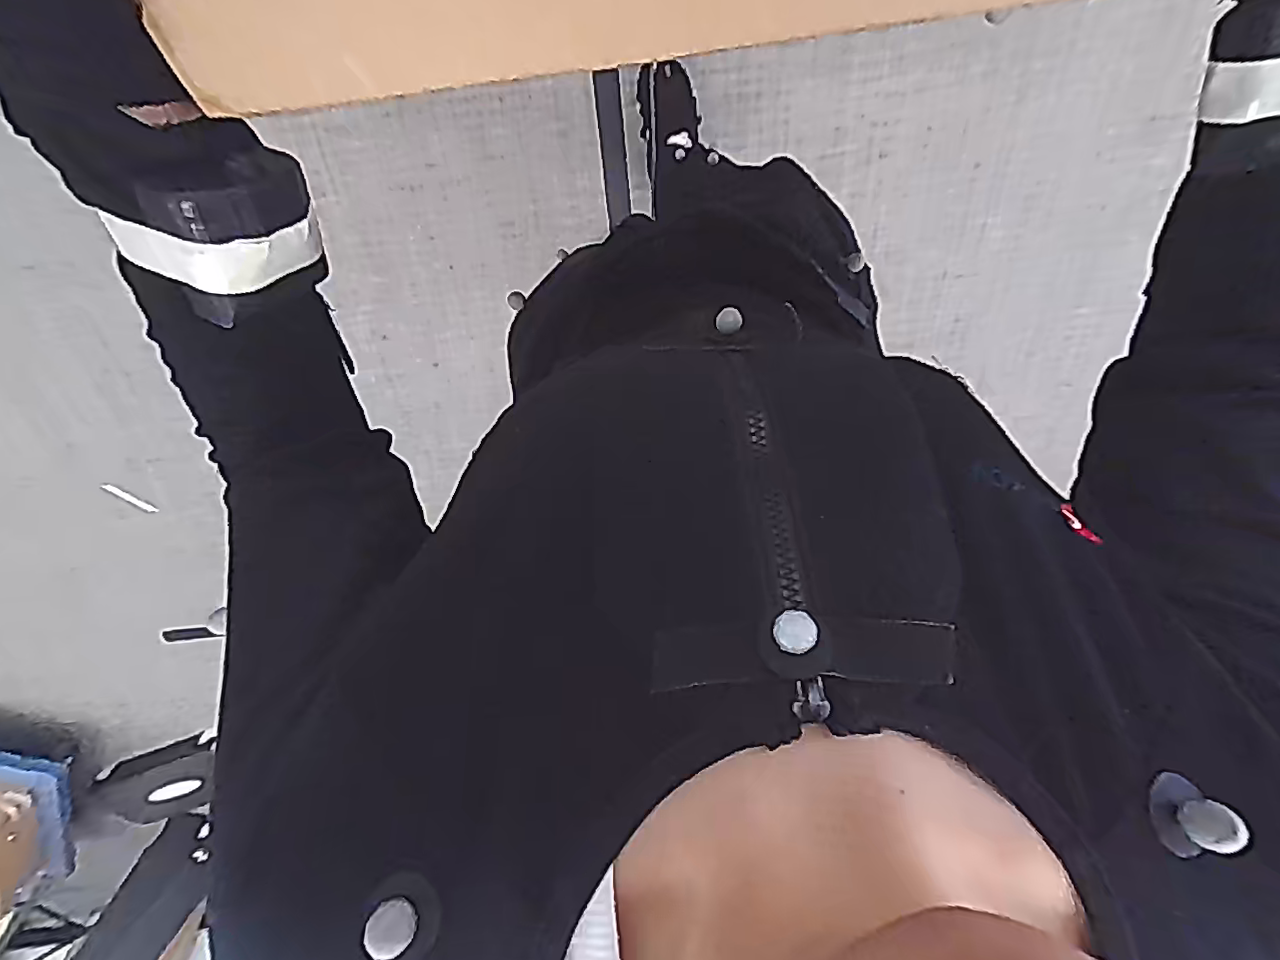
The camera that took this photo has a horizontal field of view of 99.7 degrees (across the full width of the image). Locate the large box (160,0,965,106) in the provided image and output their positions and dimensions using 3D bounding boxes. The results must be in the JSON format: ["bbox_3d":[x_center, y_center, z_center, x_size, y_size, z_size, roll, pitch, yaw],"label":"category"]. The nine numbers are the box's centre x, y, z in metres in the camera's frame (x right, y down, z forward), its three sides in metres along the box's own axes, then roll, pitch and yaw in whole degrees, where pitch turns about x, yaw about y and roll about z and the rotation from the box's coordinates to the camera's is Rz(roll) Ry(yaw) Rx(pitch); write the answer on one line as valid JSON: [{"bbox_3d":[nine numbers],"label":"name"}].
[{"bbox_3d":[0.004,-0.384,0.185,0.408,0.320,0.320,-7,140,1],"label":"large box"}]
